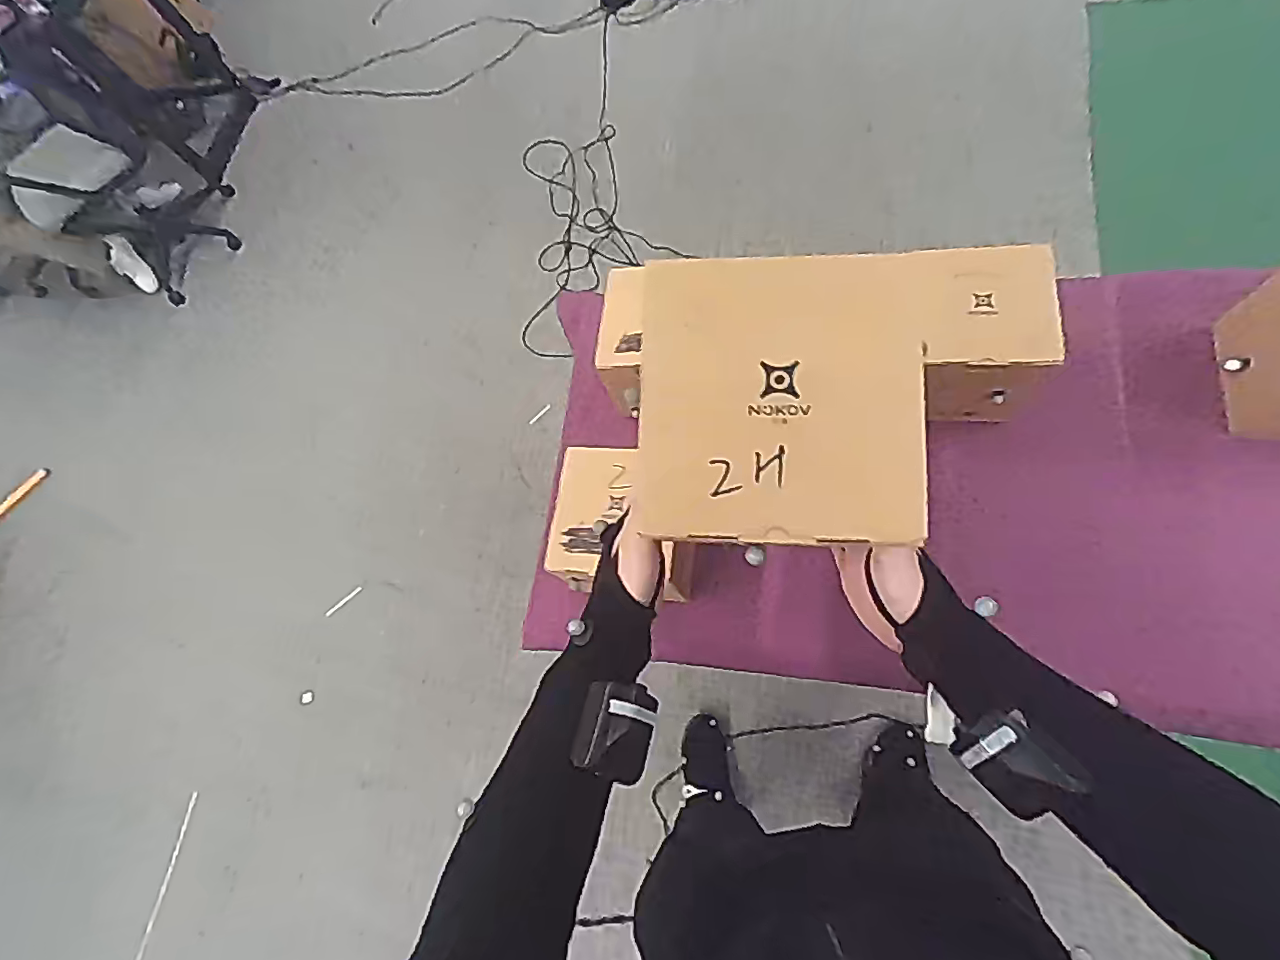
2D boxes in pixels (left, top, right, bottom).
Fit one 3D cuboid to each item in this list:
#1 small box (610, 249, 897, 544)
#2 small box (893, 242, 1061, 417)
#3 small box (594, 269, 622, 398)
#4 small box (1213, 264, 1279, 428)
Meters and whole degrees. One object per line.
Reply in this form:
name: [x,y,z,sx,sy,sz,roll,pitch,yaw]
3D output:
small box: [0.074,-0.044,0.399,0.168,0.176,0.179,0,84,7]
small box: [0.448,-0.199,0.755,0.168,0.176,0.179,3,72,15]
small box: [0.038,-0.215,0.862,0.168,0.176,0.179,2,71,14]
small box: [0.846,-0.164,0.639,0.168,0.176,0.179,4,73,16]
